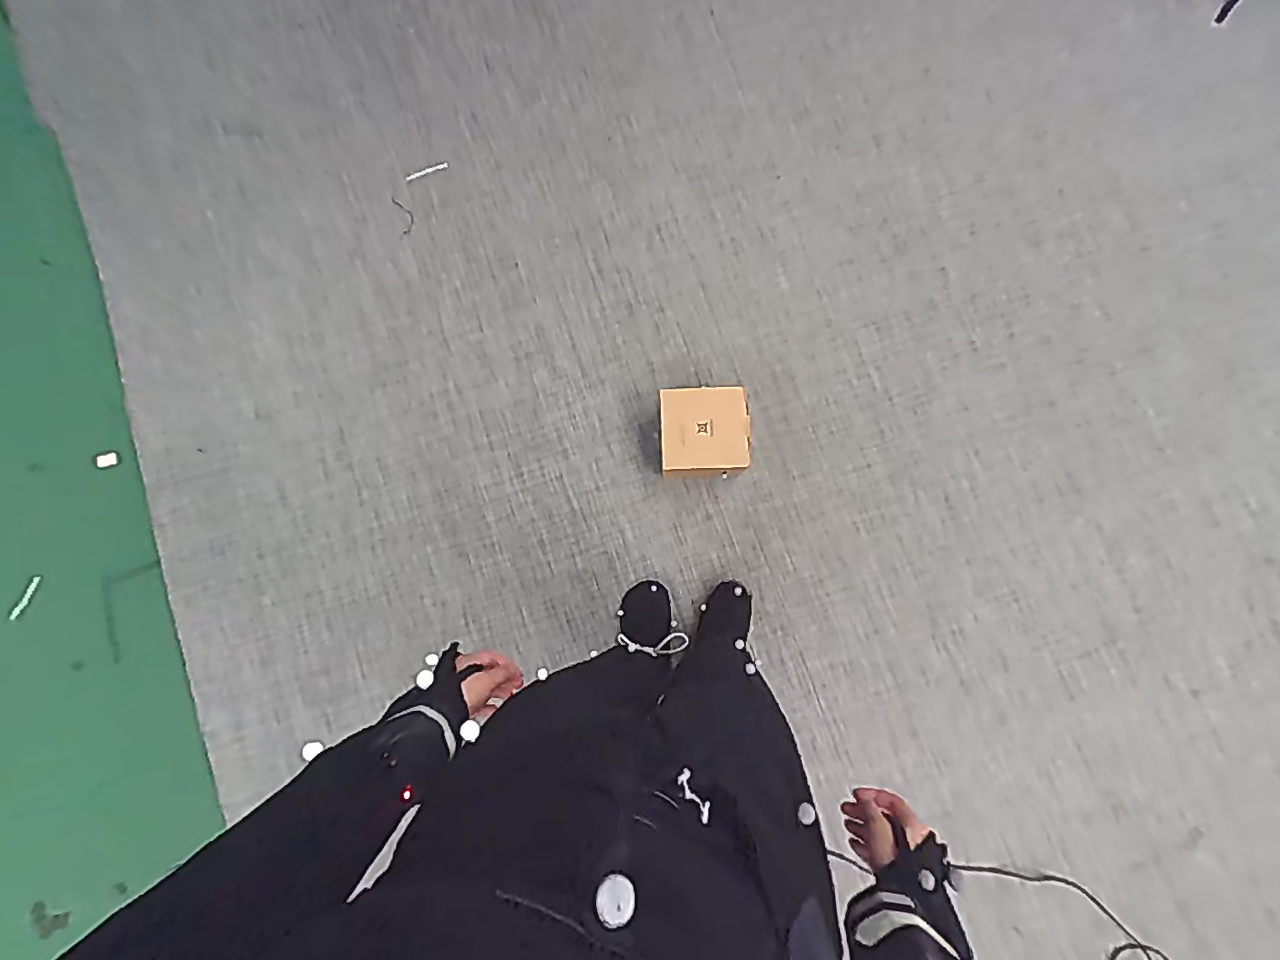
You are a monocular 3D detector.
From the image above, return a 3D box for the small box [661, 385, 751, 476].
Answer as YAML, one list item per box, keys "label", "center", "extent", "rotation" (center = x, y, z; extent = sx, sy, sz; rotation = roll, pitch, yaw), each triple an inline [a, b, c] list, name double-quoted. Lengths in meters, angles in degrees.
- label: "small box"
  center: [0.134, -0.100, 1.156]
  extent: [0.179, 0.176, 0.168]
  rotation: [-3, 84, 3]
